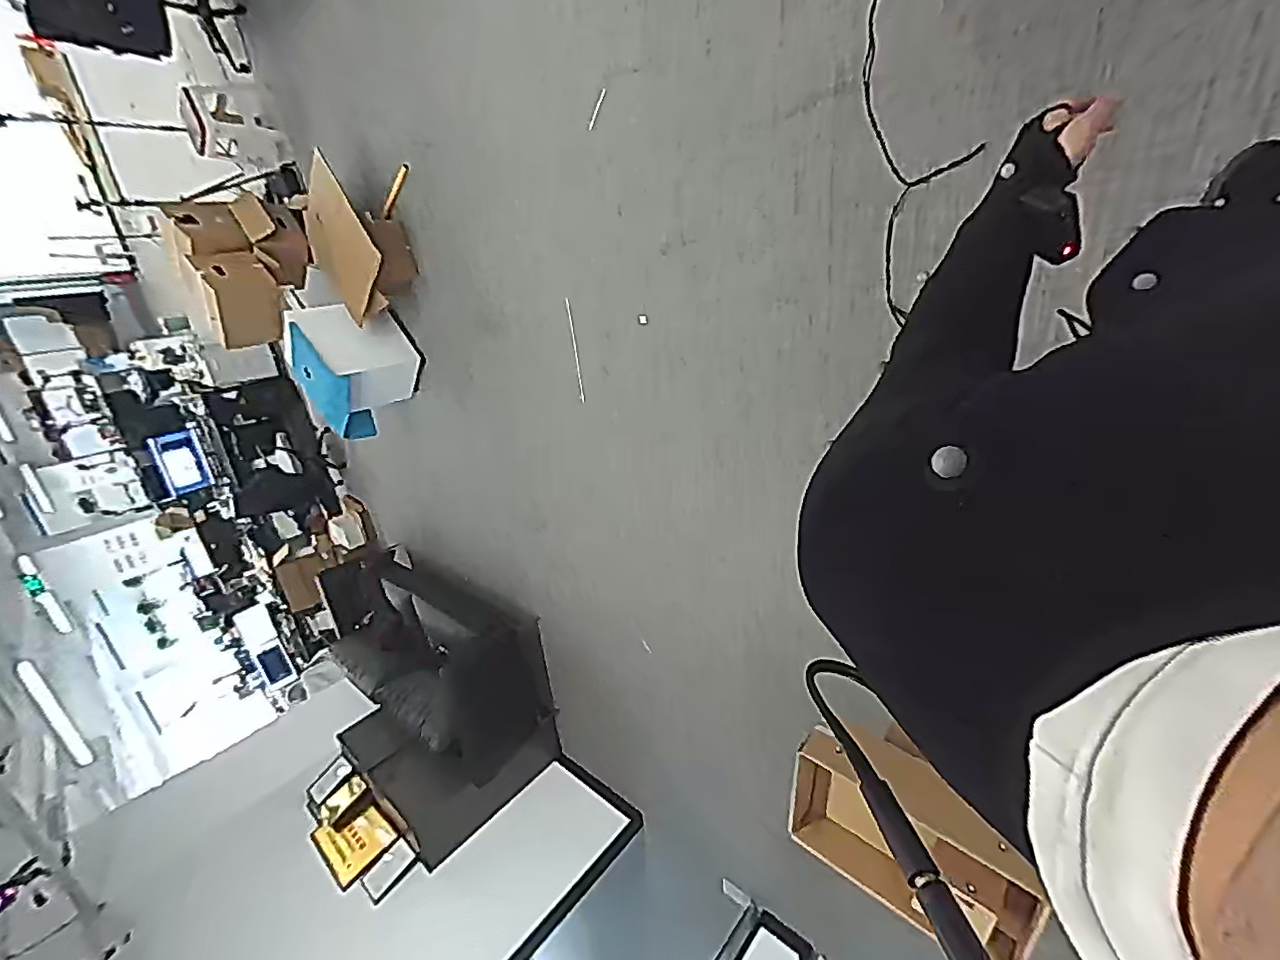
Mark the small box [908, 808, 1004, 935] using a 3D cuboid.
[{"bbox_3d":[0.836,1.025,1.427,0.168,0.176,0.179,21,124,36],"label":"small box"}]
